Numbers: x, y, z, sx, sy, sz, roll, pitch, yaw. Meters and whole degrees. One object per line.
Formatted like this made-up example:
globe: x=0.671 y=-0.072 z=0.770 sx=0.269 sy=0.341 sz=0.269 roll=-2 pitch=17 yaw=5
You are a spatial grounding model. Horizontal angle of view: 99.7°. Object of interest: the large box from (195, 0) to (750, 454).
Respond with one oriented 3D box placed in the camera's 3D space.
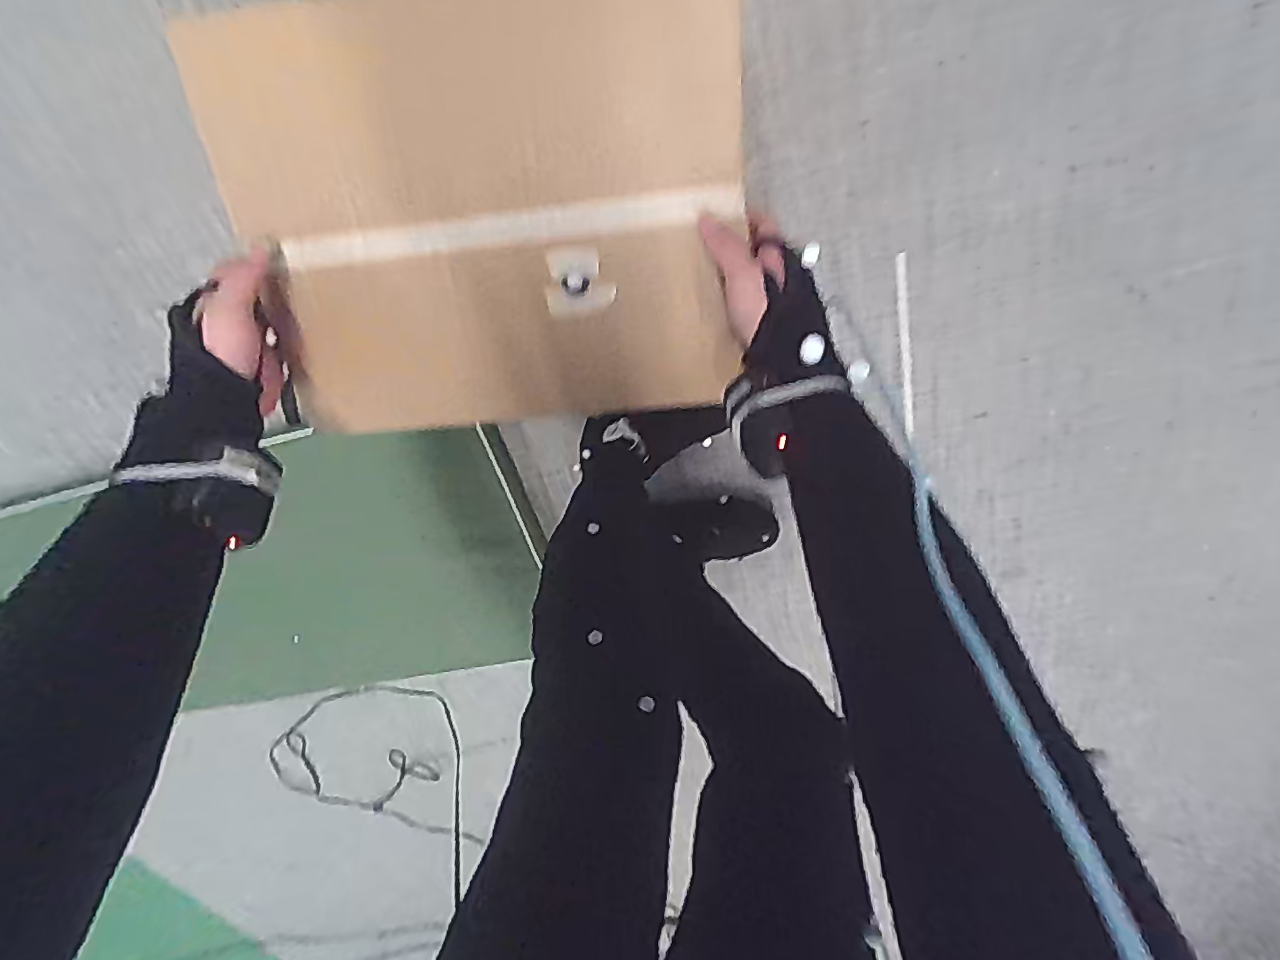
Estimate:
large box: x=-0.113 y=-0.237 z=0.573 sx=0.408 sy=0.320 sz=0.320 roll=-4 pitch=113 yaw=3
